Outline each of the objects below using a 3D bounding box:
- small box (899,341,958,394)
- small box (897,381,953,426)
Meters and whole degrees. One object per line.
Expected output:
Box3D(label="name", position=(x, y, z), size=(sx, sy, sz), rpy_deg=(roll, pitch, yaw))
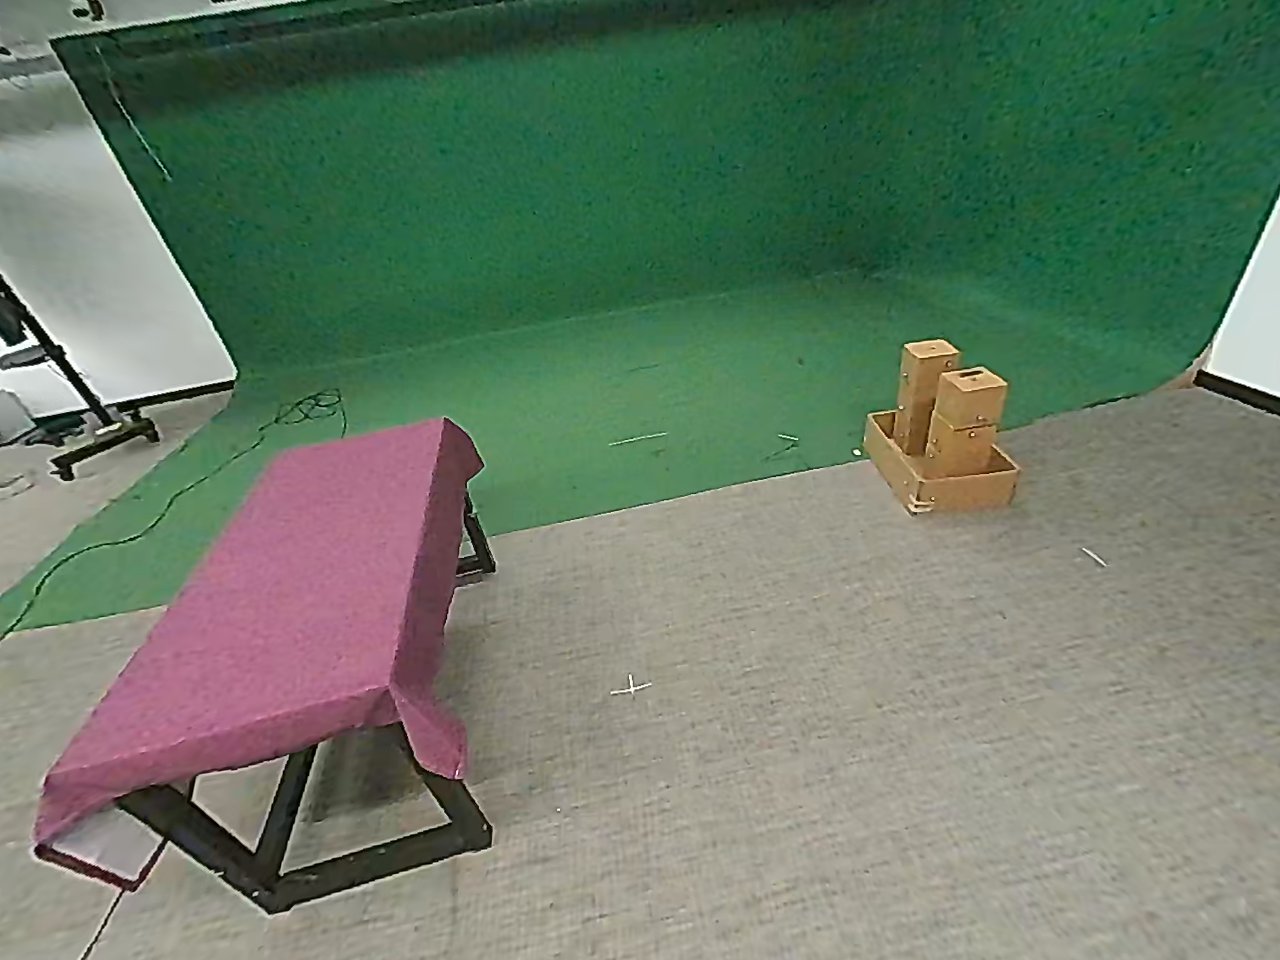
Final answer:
Box3D(label="small box", position=(1.281, -0.502, 2.410), size=(0.179, 0.176, 0.168), rpy_deg=(-7, 34, 5))
Box3D(label="small box", position=(1.309, -0.366, 2.499), size=(0.179, 0.176, 0.168), rpy_deg=(-7, 34, 7))
